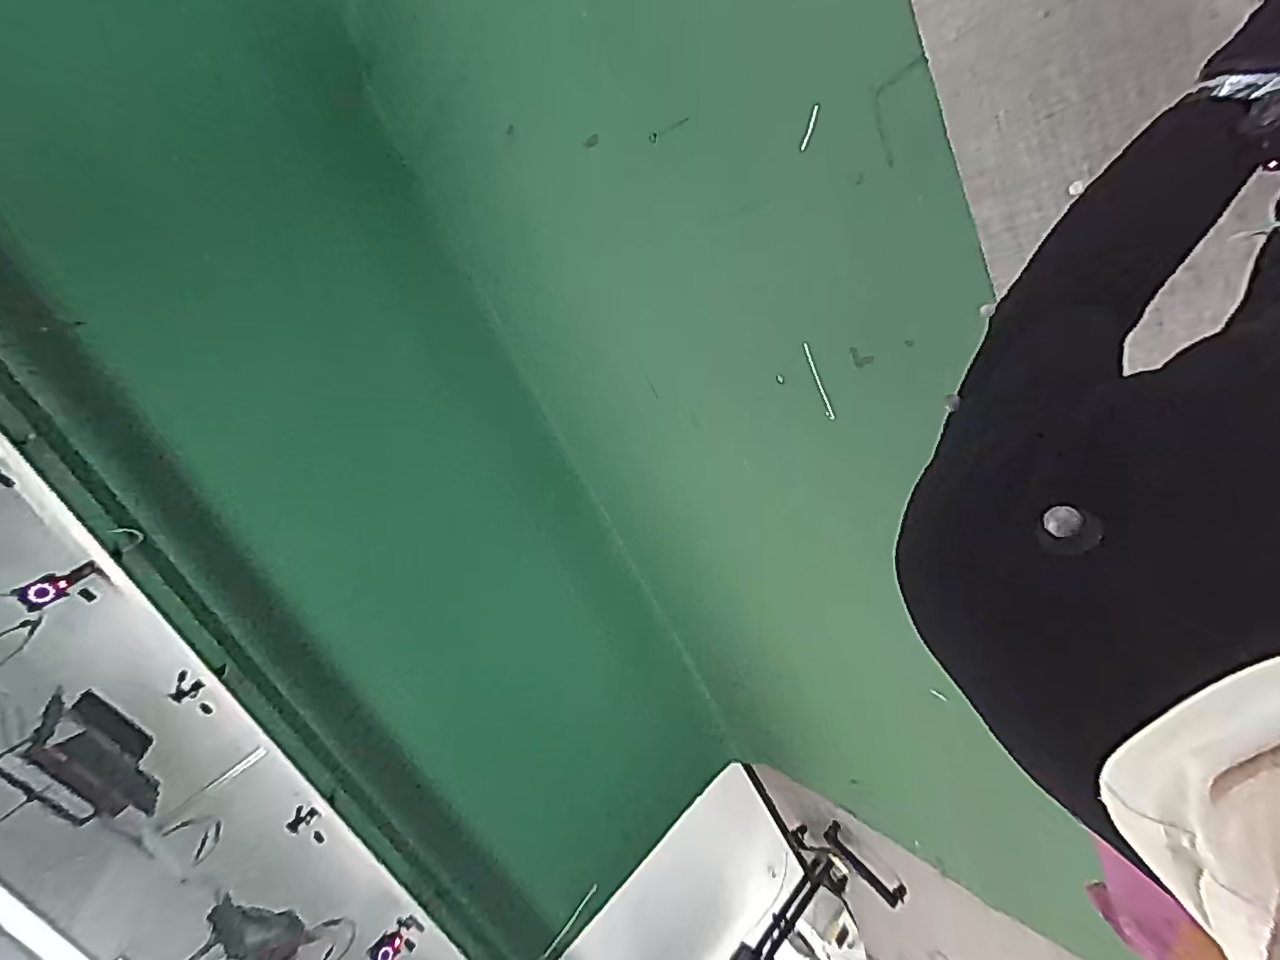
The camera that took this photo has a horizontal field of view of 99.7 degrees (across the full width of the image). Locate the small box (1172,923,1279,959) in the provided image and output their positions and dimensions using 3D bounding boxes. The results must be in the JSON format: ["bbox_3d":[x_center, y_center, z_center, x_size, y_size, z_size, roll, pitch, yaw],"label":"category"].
[{"bbox_3d":[1.192,1.036,1.067,0.168,0.176,0.179,60,152,-10],"label":"small box"}]
